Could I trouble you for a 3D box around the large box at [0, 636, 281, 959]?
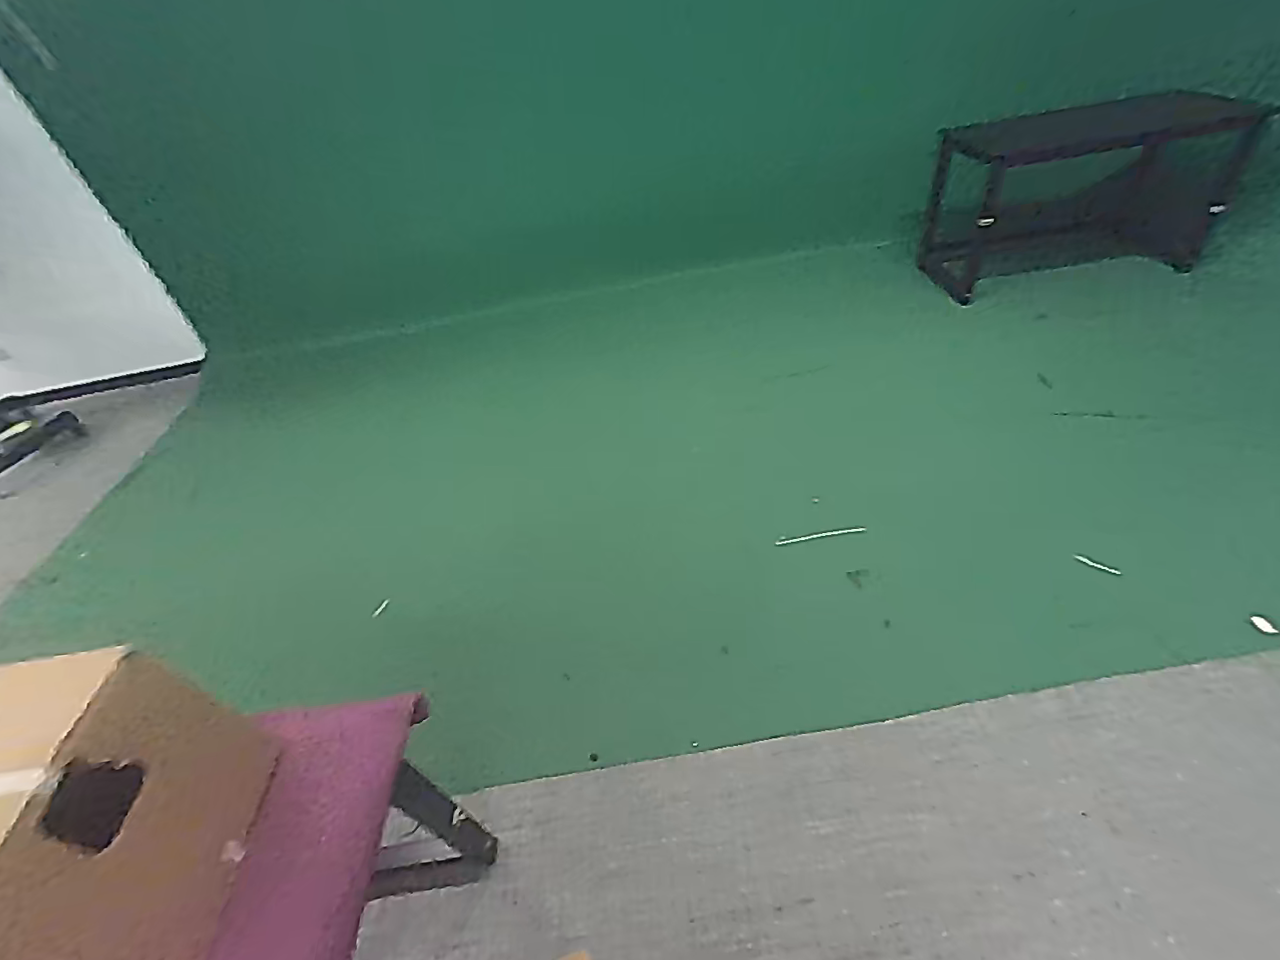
[{"bbox_3d":[-0.769,0.435,0.657,0.408,0.320,0.320,-9,44,1],"label":"large box"}]
